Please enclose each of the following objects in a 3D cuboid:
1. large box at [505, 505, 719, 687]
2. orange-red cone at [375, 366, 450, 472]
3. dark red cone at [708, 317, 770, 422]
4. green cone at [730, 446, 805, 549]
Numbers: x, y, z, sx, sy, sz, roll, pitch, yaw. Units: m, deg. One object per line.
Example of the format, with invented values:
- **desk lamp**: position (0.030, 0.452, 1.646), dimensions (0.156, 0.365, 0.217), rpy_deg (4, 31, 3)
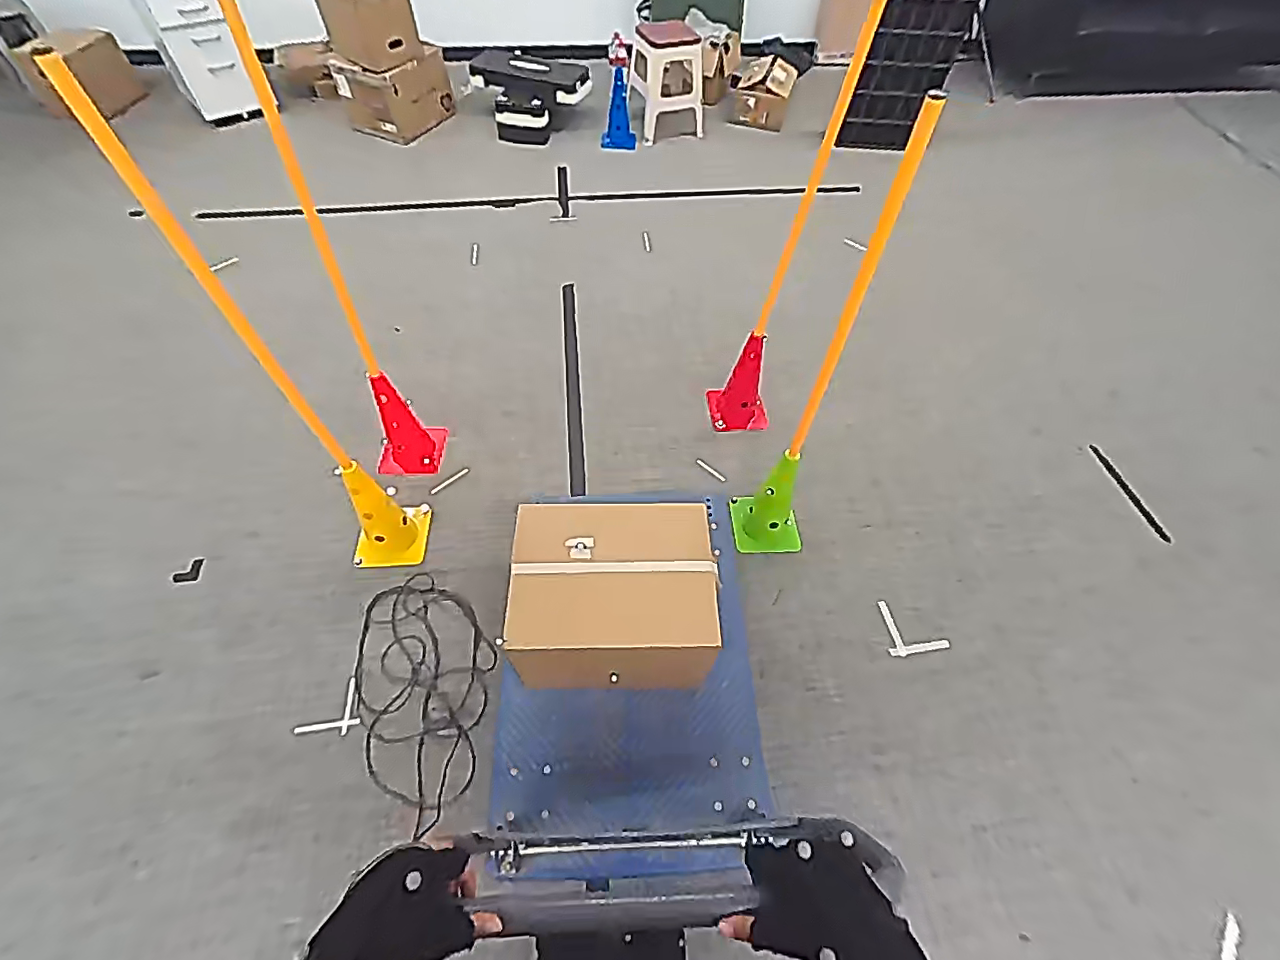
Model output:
- **large box**: position (-0.056, 0.266, 1.203), dimensions (0.408, 0.320, 0.320), rpy_deg (0, 55, -1)
- **orange-red cone**: position (-0.748, -0.212, 1.686), dimensions (0.198, 0.360, 0.199), rpy_deg (3, 54, -2)
- **dark red cone**: position (0.366, -0.376, 1.822), dimensions (0.201, 0.394, 0.202), rpy_deg (-3, 56, -7)
- **green cone**: position (0.399, 0.031, 1.560), dimensions (0.202, 0.368, 0.200), rpy_deg (0, 55, -4)
